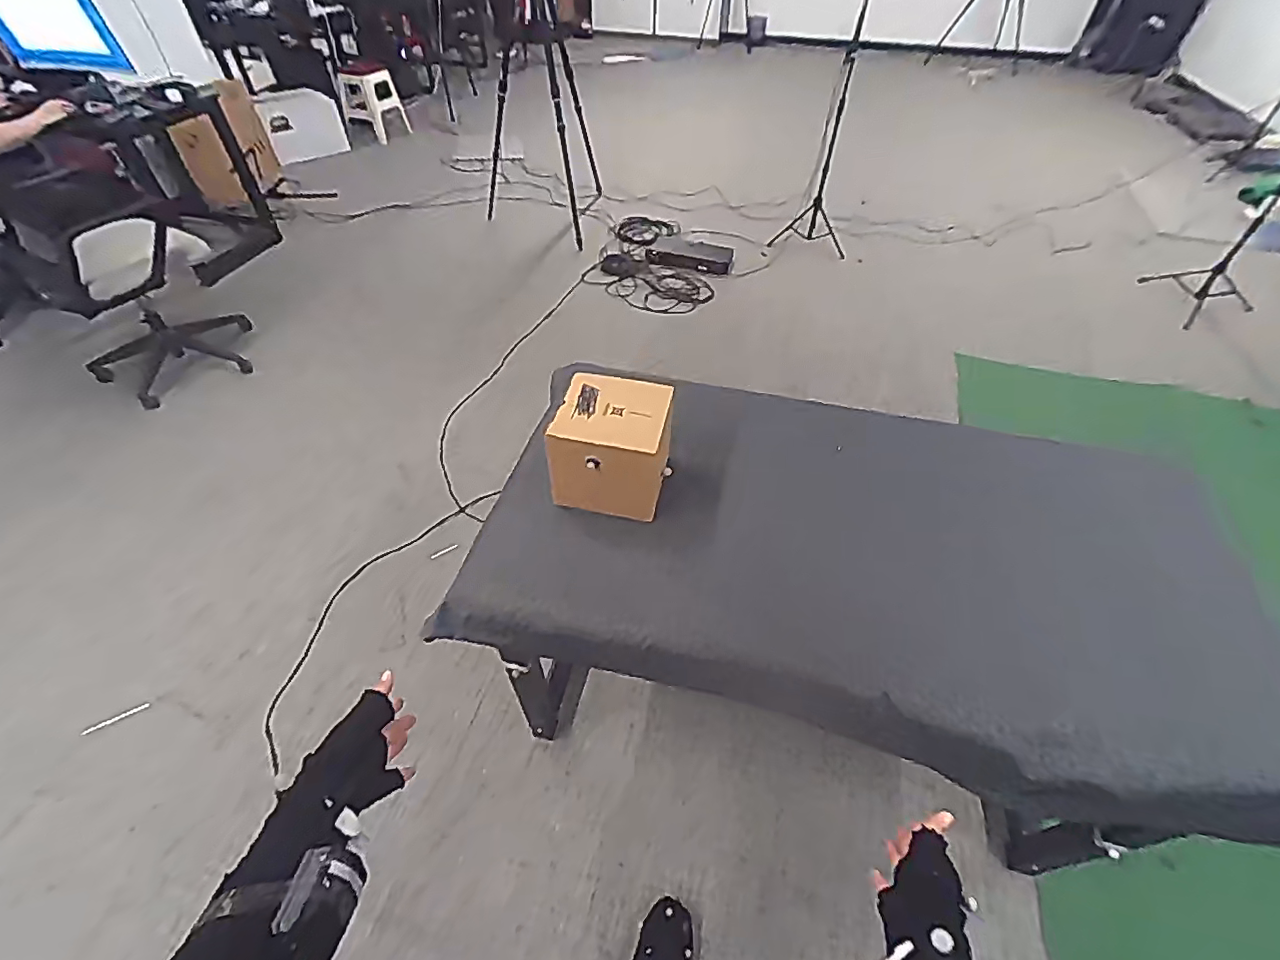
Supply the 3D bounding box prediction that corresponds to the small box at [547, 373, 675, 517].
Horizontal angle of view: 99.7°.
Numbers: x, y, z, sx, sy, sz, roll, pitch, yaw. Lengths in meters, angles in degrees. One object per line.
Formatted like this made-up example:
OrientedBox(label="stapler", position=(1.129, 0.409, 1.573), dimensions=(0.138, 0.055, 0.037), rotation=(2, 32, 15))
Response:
OrientedBox(label="small box", position=(-0.044, -0.057, 0.925), dimensions=(0.179, 0.176, 0.168), rotation=(11, 49, 7))
